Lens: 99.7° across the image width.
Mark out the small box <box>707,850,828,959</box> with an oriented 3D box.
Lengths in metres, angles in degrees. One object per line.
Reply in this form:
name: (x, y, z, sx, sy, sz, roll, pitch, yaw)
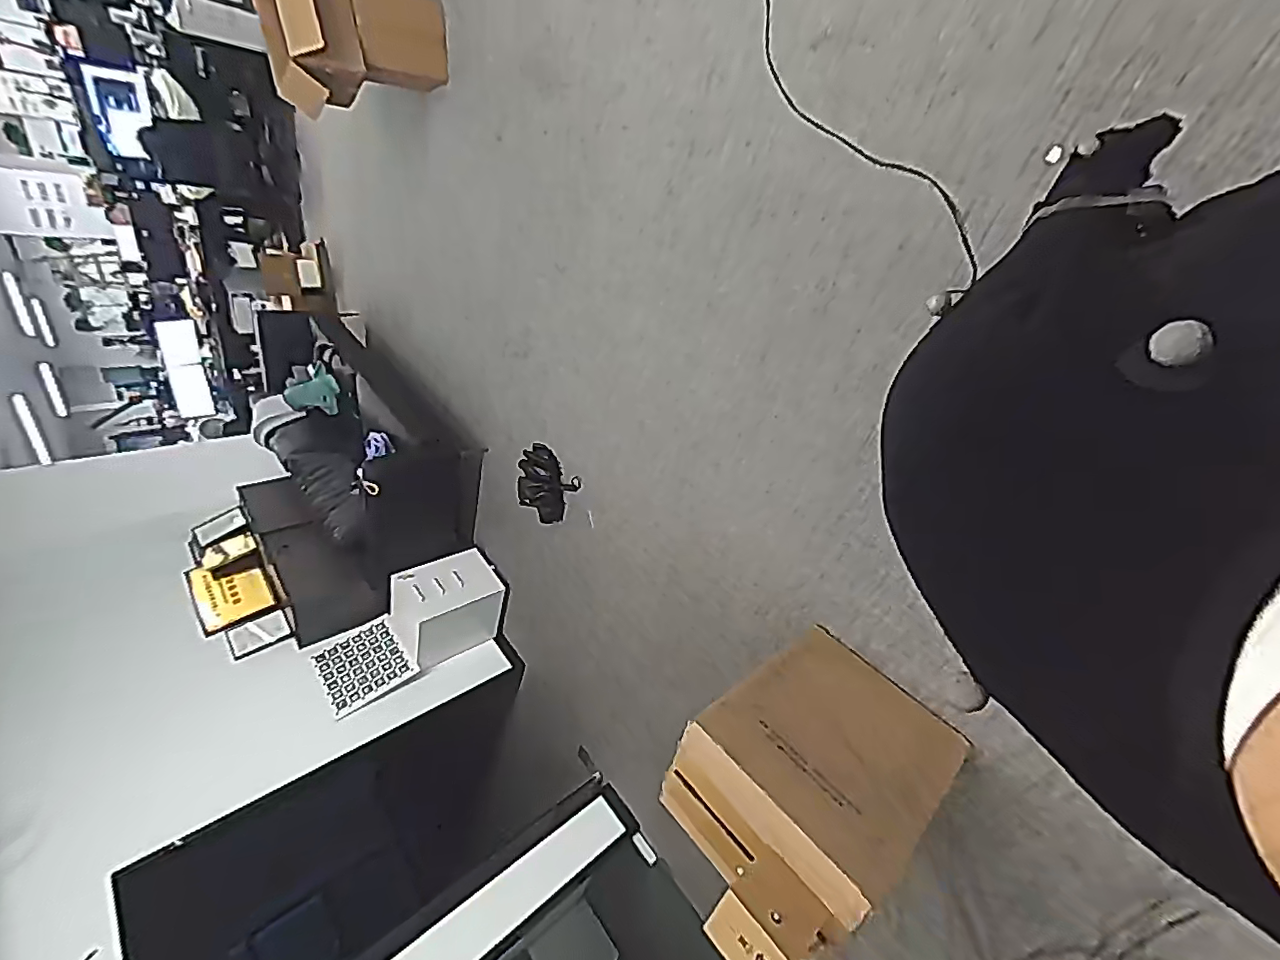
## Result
small box: (0.288, 0.991, 1.212, 0.179, 0.176, 0.168, 37, 119, 35)
